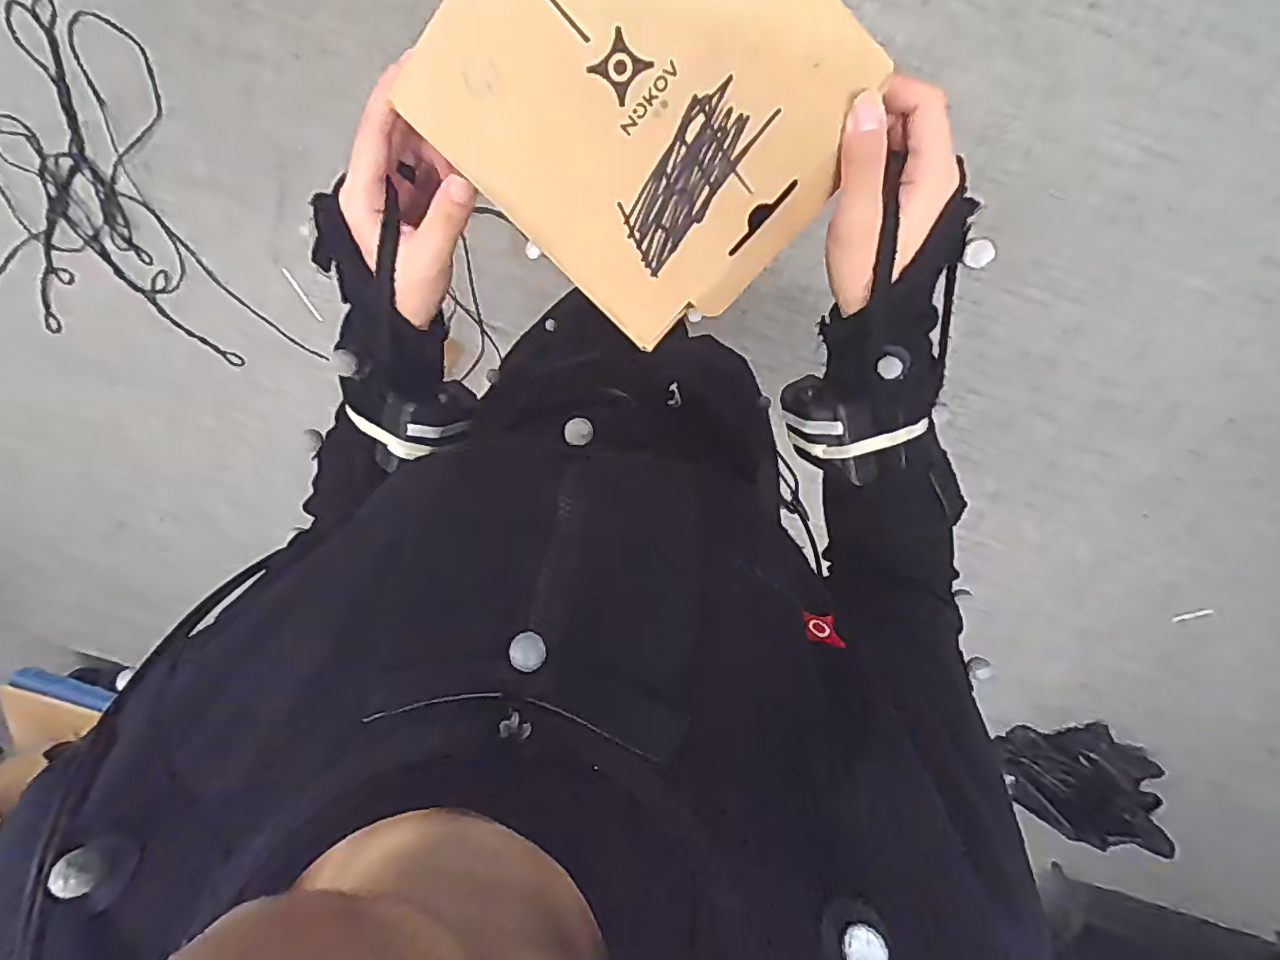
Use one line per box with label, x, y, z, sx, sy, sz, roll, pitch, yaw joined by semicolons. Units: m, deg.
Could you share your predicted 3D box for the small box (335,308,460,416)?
small box;-0.555;-0.282;1.261;0.179;0.176;0.168;39;111;-9
